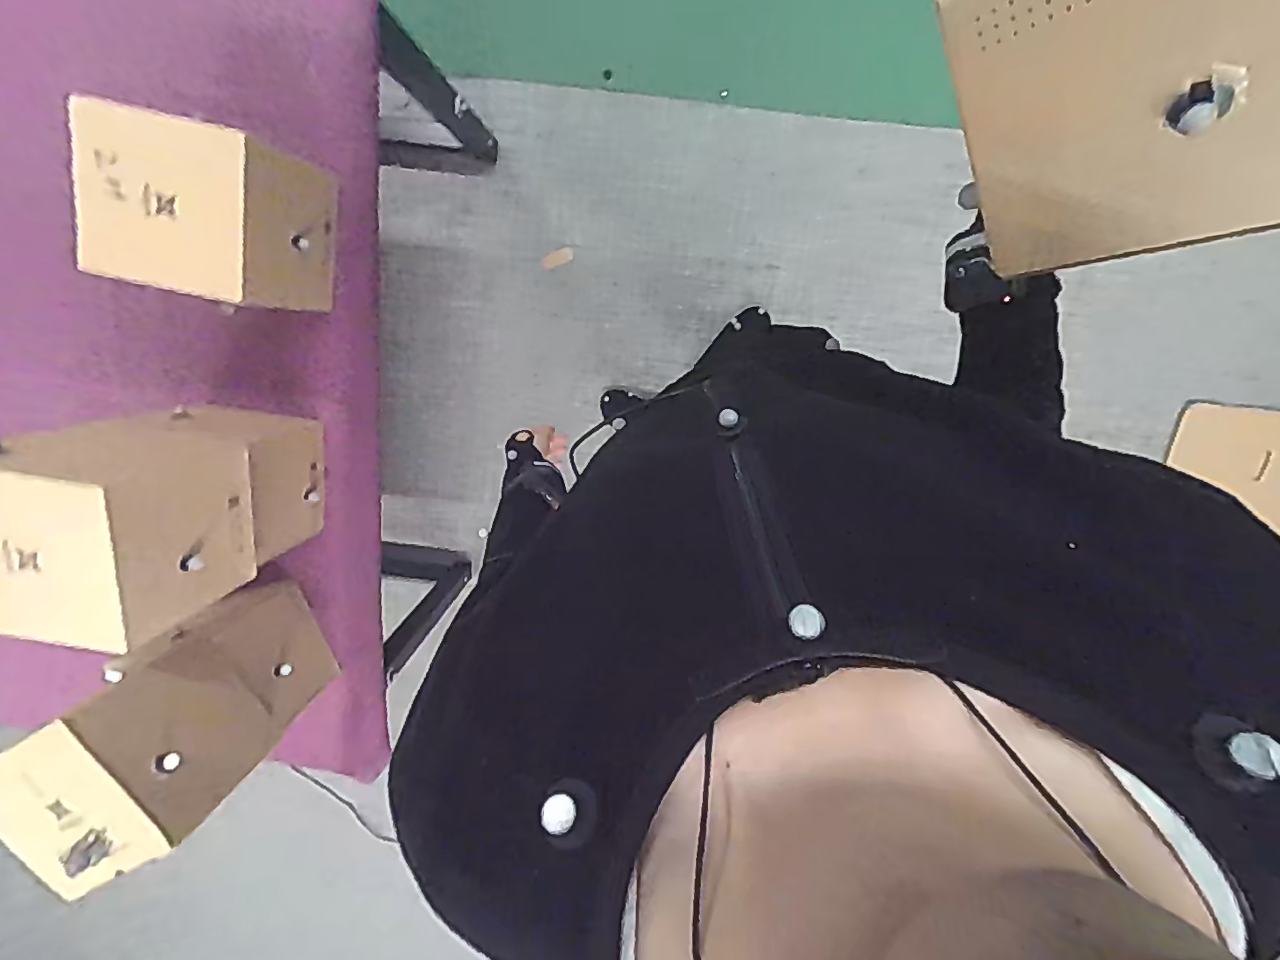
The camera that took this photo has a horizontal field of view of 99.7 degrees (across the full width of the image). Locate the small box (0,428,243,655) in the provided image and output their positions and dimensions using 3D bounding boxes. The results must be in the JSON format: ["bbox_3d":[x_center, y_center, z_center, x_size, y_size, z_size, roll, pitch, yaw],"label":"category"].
[{"bbox_3d":[-0.540,0.049,0.547,0.179,0.176,0.168,8,106,2],"label":"small box"}]

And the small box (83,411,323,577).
[{"bbox_3d":[-0.550,0.008,0.704,0.179,0.176,0.168,8,105,0],"label":"small box"}]

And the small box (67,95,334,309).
[{"bbox_3d":[-0.485,-0.299,0.623,0.179,0.176,0.168,12,104,-1],"label":"small box"}]

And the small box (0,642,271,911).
[{"bbox_3d":[-0.578,0.322,0.613,0.168,0.176,0.179,-29,100,9],"label":"small box"}]

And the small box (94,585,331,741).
[{"bbox_3d":[-0.587,0.278,0.773,0.168,0.176,0.179,-17,103,6],"label":"small box"}]
